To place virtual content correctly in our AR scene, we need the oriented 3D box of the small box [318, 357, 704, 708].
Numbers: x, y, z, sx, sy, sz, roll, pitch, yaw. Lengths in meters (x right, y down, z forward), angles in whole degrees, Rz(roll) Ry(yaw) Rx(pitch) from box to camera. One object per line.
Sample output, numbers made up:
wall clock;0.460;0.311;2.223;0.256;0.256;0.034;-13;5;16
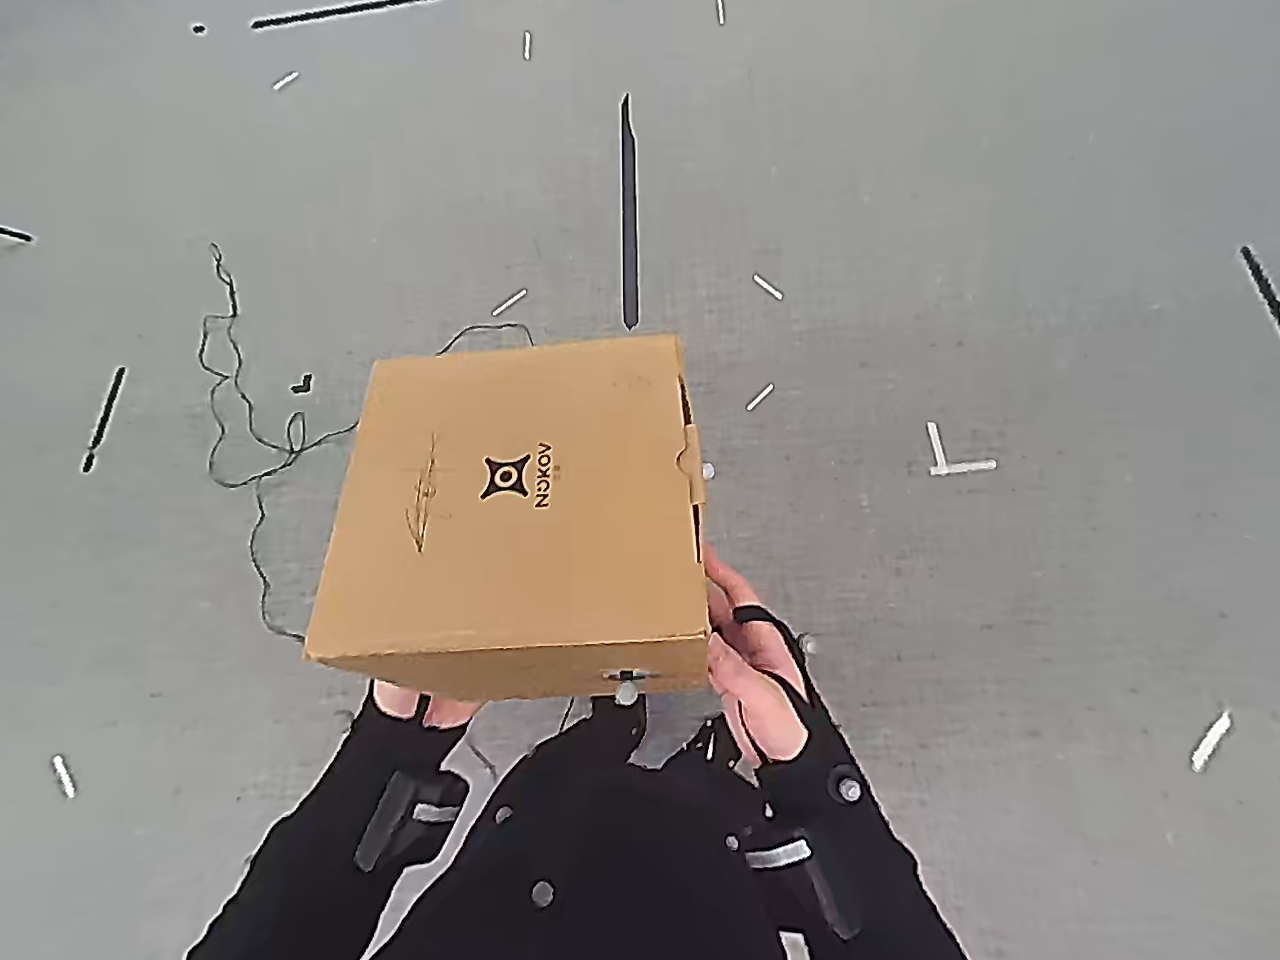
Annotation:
small box;-0.056;0.046;0.345;0.179;0.176;0.168;-5;61;4
